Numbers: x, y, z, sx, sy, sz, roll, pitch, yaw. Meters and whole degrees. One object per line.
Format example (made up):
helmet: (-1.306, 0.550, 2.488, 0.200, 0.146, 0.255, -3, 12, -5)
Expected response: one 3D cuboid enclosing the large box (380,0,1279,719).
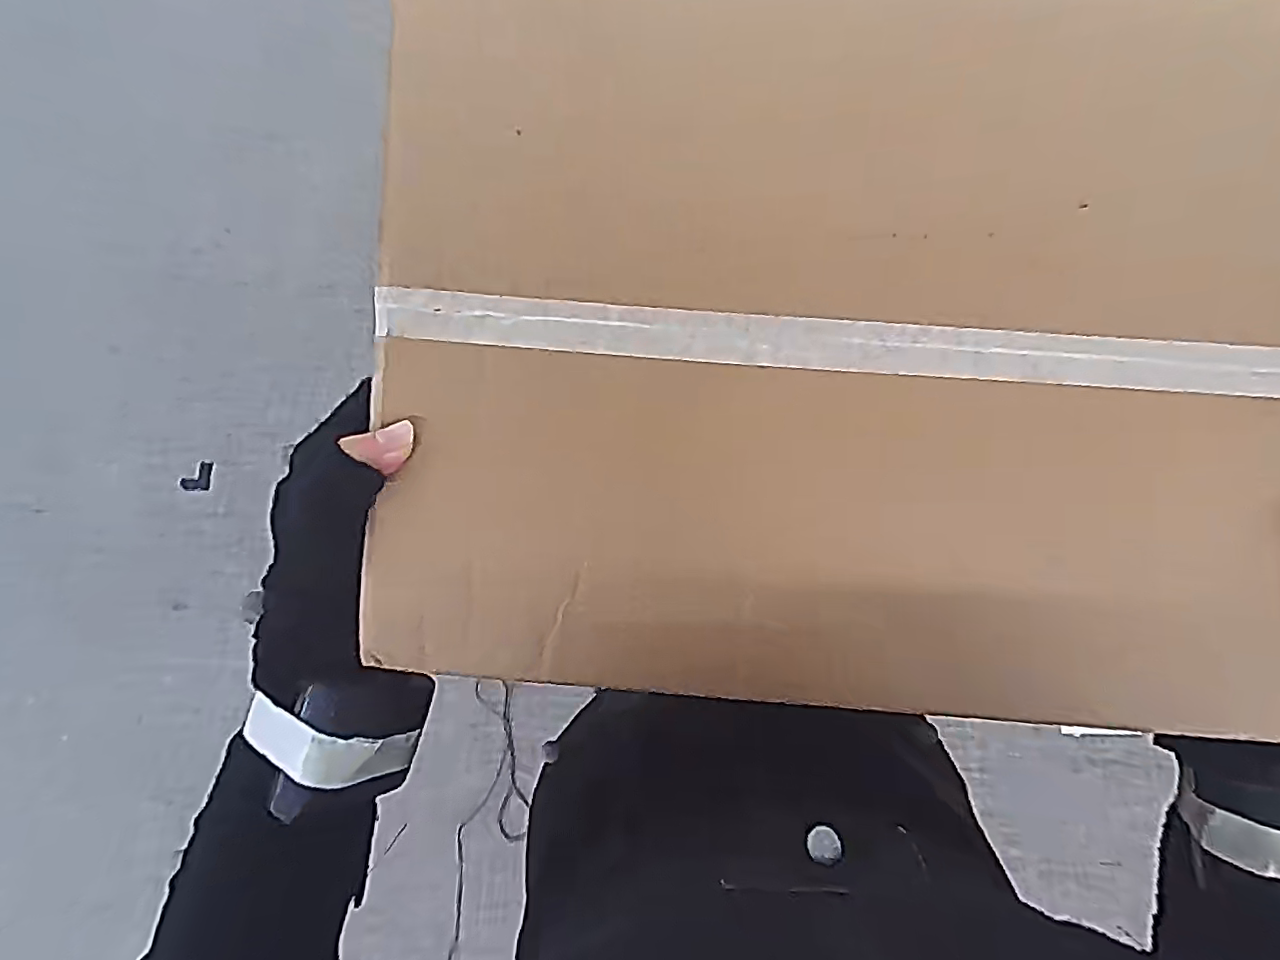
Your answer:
large box: (0.088, -0.060, 0.391, 0.408, 0.320, 0.320, 4, 92, 1)
